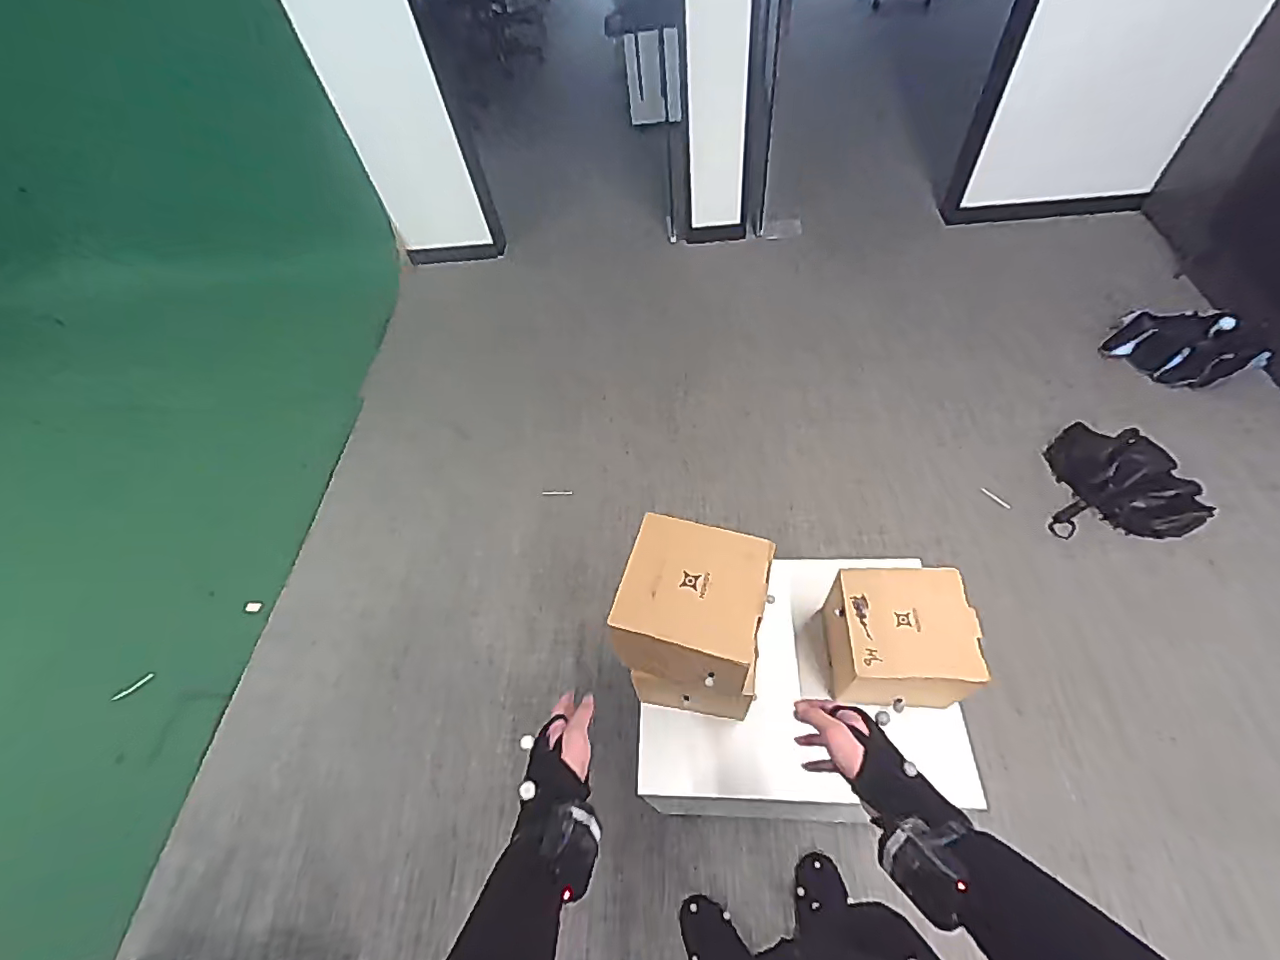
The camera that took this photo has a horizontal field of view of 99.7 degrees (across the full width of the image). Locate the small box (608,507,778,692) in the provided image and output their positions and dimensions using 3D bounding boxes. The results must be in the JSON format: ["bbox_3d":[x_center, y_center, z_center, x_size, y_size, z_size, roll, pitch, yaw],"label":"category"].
[{"bbox_3d":[0.073,0.163,0.718,0.179,0.176,0.168,12,55,13],"label":"small box"}]

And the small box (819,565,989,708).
[{"bbox_3d":[0.388,0.245,0.833,0.179,0.176,0.168,1,55,6],"label":"small box"}]

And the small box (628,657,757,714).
[{"bbox_3d":[0.088,0.257,0.849,0.179,0.176,0.168,7,56,10],"label":"small box"}]
